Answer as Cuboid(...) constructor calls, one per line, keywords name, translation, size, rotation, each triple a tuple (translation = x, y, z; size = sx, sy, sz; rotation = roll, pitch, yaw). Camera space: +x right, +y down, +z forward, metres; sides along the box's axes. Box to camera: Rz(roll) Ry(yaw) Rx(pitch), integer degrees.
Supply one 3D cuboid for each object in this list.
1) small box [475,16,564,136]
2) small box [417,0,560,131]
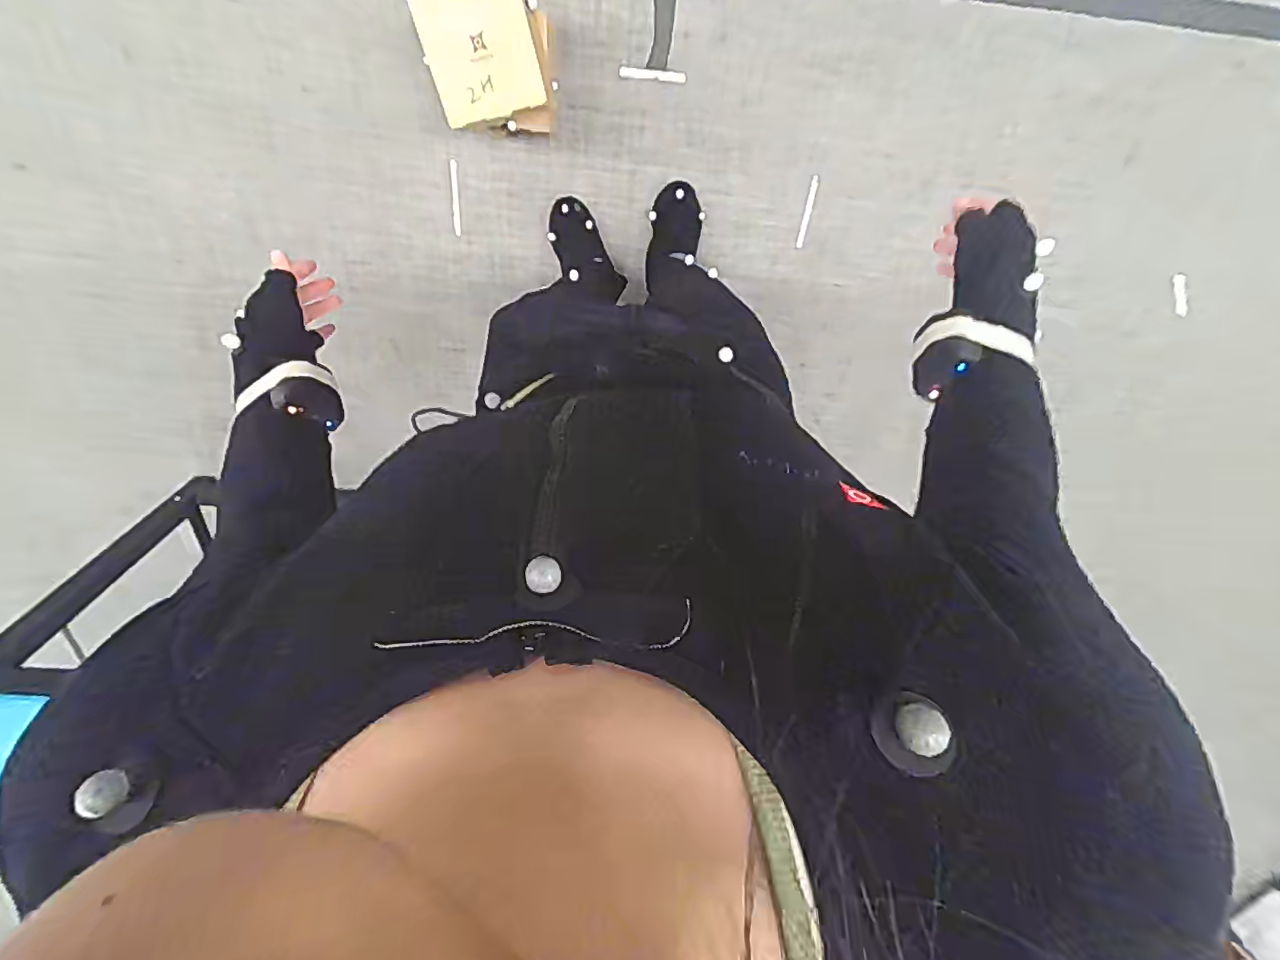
Cuboid(name="small box", translation=(-0.237, -0.771, 1.038), size=(0.168, 0.176, 0.179), rotation=(3, 122, -3))
Cuboid(name="small box", translation=(-0.237, -0.692, 0.893), size=(0.168, 0.176, 0.179), rotation=(-7, 125, 5))
